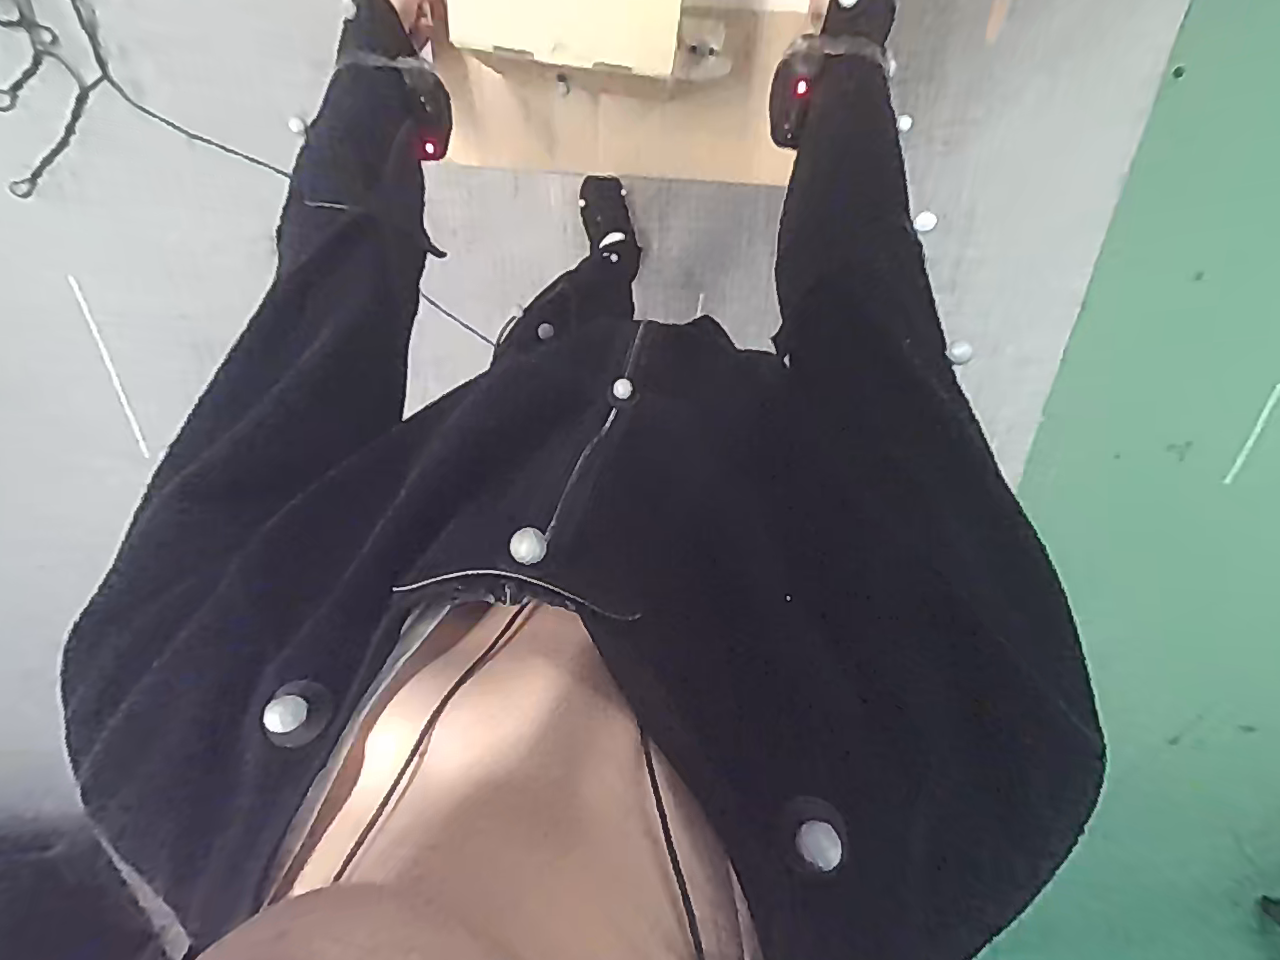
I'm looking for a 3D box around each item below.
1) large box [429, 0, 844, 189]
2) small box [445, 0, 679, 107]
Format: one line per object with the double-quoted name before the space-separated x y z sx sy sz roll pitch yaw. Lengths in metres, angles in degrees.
"large box" -0.006 -0.531 0.642 0.408 0.320 0.320 2 121 -2
"small box" -0.049 -0.417 0.426 0.168 0.176 0.179 6 120 -4
